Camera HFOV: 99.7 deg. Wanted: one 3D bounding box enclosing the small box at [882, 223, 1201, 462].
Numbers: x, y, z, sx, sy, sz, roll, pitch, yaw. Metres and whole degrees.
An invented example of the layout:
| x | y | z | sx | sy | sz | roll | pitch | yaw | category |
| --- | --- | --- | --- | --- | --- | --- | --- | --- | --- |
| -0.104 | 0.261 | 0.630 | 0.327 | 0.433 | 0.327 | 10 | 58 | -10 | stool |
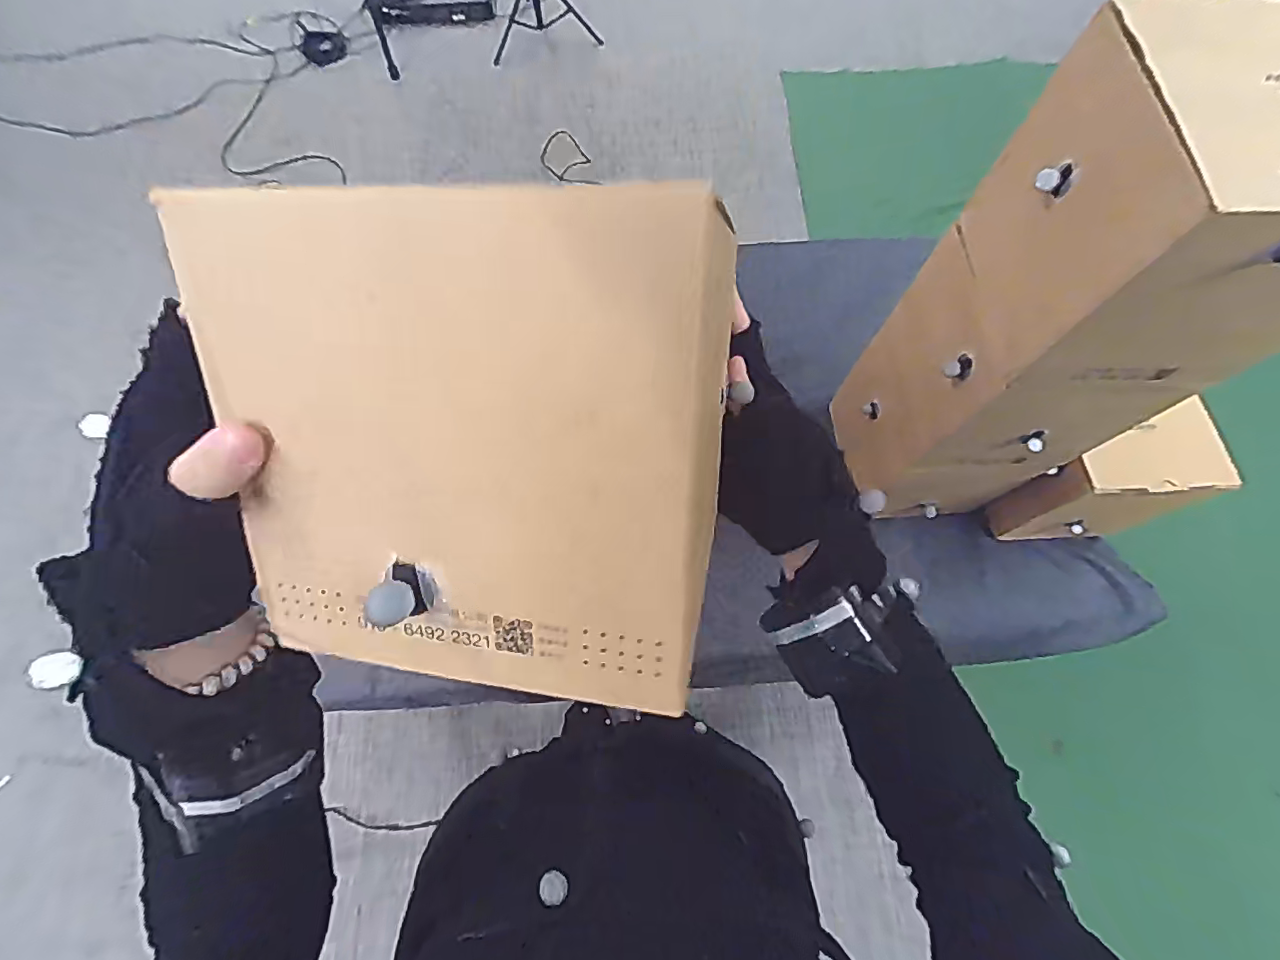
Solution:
| x | y | z | sx | sy | sz | roll | pitch | yaw | category |
| --- | --- | --- | --- | --- | --- | --- | --- | --- | --- |
| 0.363 | -0.123 | 0.530 | 0.168 | 0.176 | 0.179 | -2 | 68 | -1 | small box |

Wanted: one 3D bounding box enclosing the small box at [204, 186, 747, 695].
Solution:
| x | y | z | sx | sy | sz | roll | pitch | yaw | category |
| --- | --- | --- | --- | --- | --- | --- | --- | --- | --- |
| -0.044 | -0.034 | 0.259 | 0.168 | 0.179 | 0.176 | 7 | 114 | 11 | small box |

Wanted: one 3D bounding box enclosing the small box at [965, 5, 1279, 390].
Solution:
| x | y | z | sx | sy | sz | roll | pitch | yaw | category |
| --- | --- | --- | --- | --- | --- | --- | --- | --- | --- |
| 0.362 | -0.182 | 0.376 | 0.168 | 0.176 | 0.179 | 0 | 68 | 0 | small box |
